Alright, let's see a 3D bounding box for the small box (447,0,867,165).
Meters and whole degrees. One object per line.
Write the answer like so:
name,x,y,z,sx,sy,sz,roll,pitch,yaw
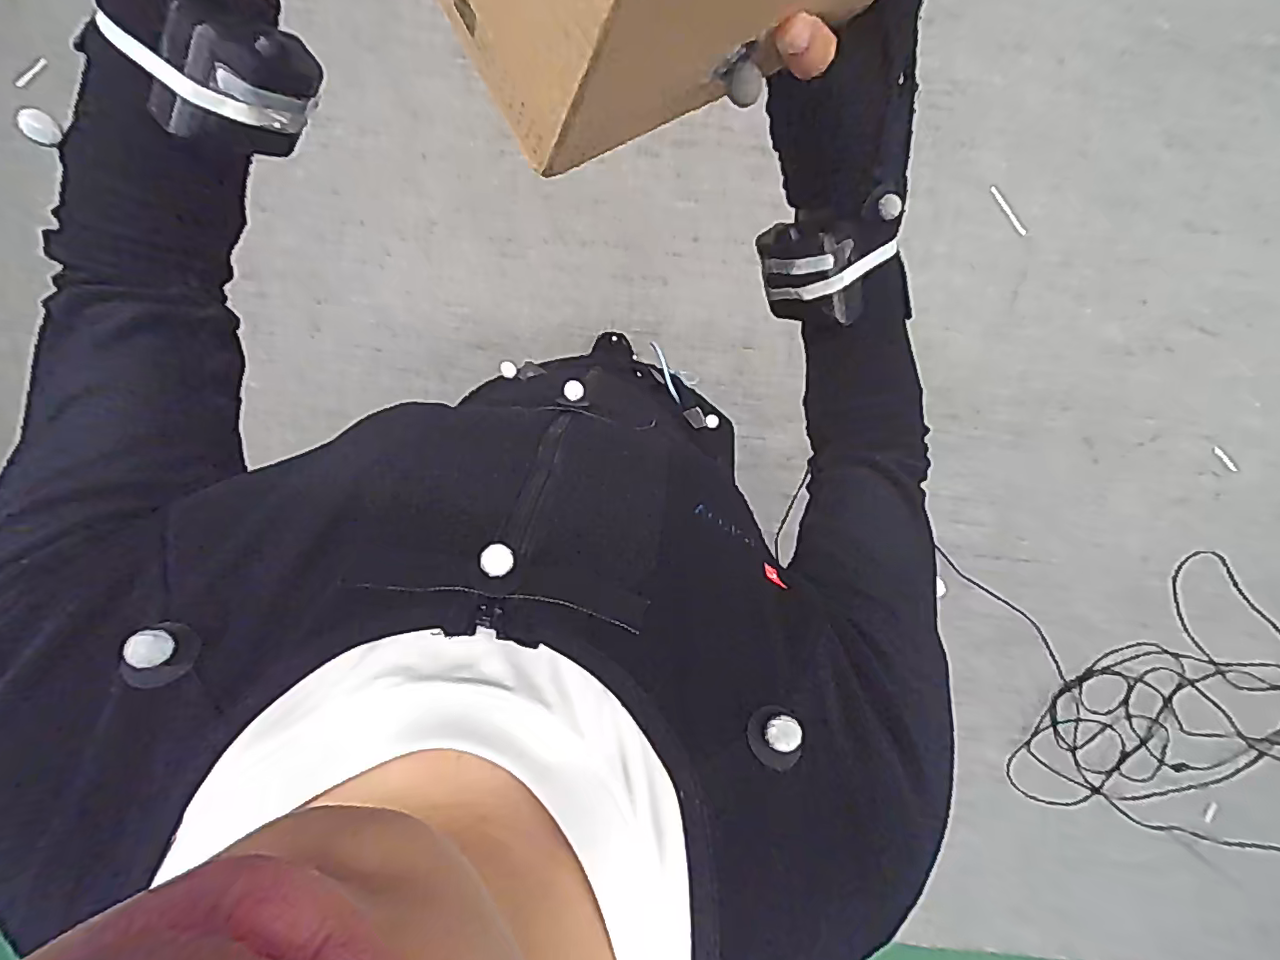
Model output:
small box,0.018,-0.236,0.162,0.179,0.176,0.168,-34,107,-14
